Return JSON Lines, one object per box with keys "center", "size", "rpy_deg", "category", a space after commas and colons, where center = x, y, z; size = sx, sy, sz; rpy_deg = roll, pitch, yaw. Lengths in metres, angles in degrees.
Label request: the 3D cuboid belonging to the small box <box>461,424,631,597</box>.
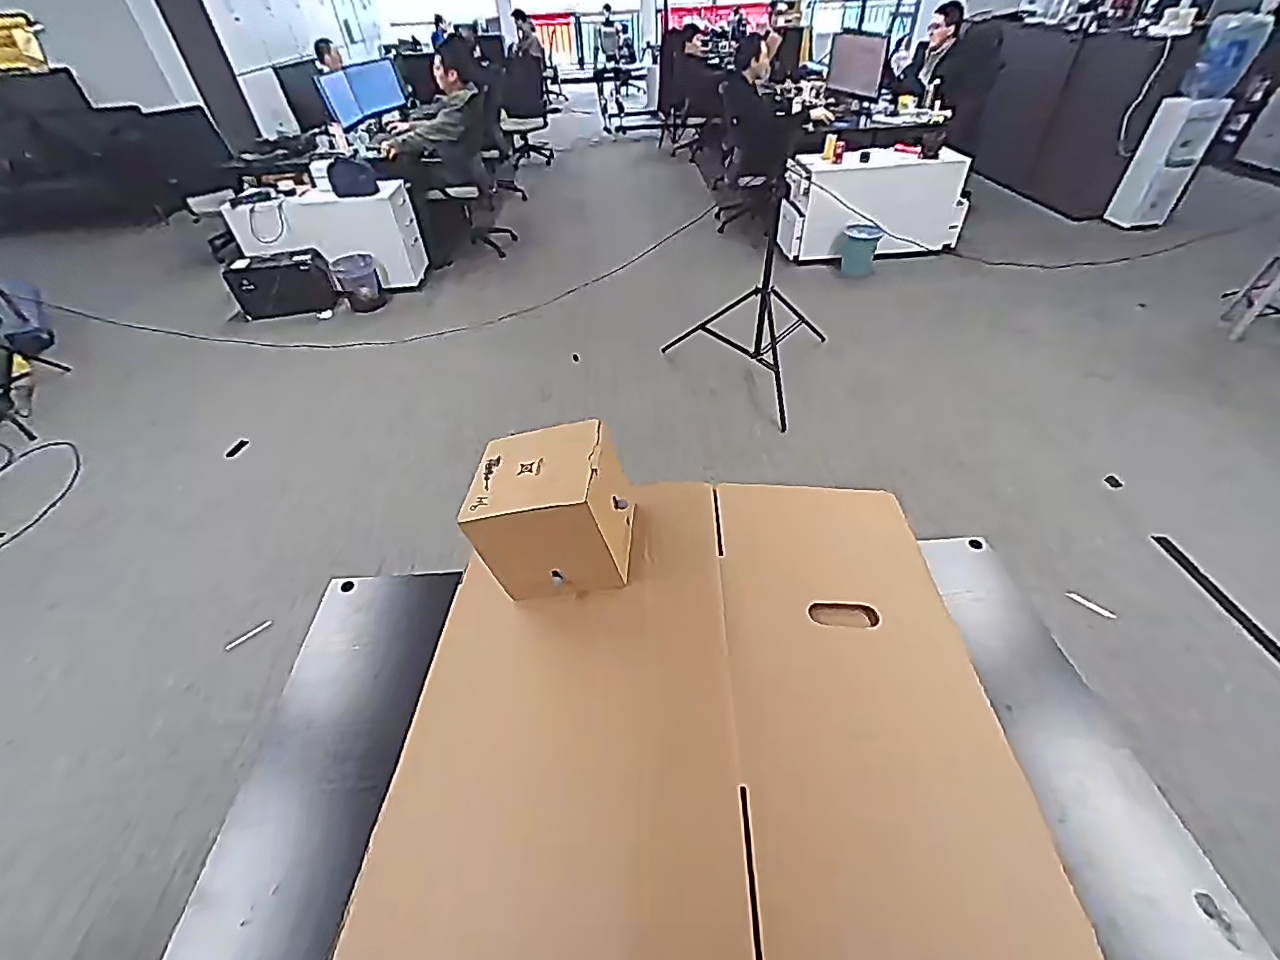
{"center": [-0.118, 0.047, 0.769], "size": [0.179, 0.176, 0.168], "rpy_deg": [-9, 41, 12], "category": "small box"}
